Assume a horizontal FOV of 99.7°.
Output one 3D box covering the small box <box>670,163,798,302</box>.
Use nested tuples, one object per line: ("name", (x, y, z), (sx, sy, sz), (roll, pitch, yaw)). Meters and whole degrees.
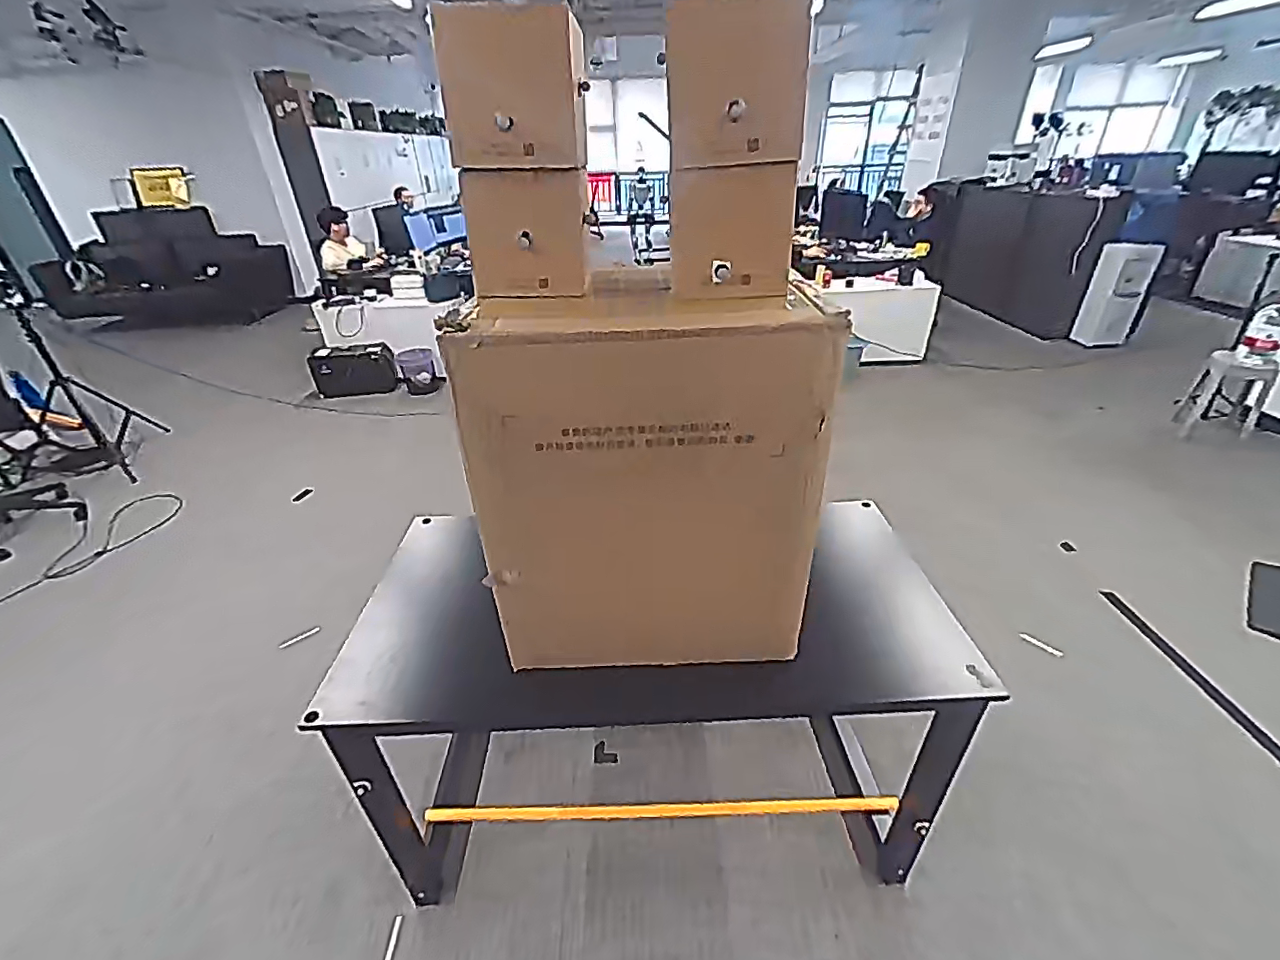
("small box", (0.128, -0.370, 0.800), (0.168, 0.176, 0.179), (-3, 33, 4))

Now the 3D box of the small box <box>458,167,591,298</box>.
("small box", (-0.164, -0.385, 0.838), (0.168, 0.176, 0.179), (-1, 32, -1))

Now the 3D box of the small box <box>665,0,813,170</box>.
("small box", (0.119, -0.506, 0.708), (0.168, 0.176, 0.179), (-1, 32, 5))

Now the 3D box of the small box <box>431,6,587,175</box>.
("small box", (-0.162, -0.518, 0.738), (0.168, 0.176, 0.179), (0, 32, 0))
